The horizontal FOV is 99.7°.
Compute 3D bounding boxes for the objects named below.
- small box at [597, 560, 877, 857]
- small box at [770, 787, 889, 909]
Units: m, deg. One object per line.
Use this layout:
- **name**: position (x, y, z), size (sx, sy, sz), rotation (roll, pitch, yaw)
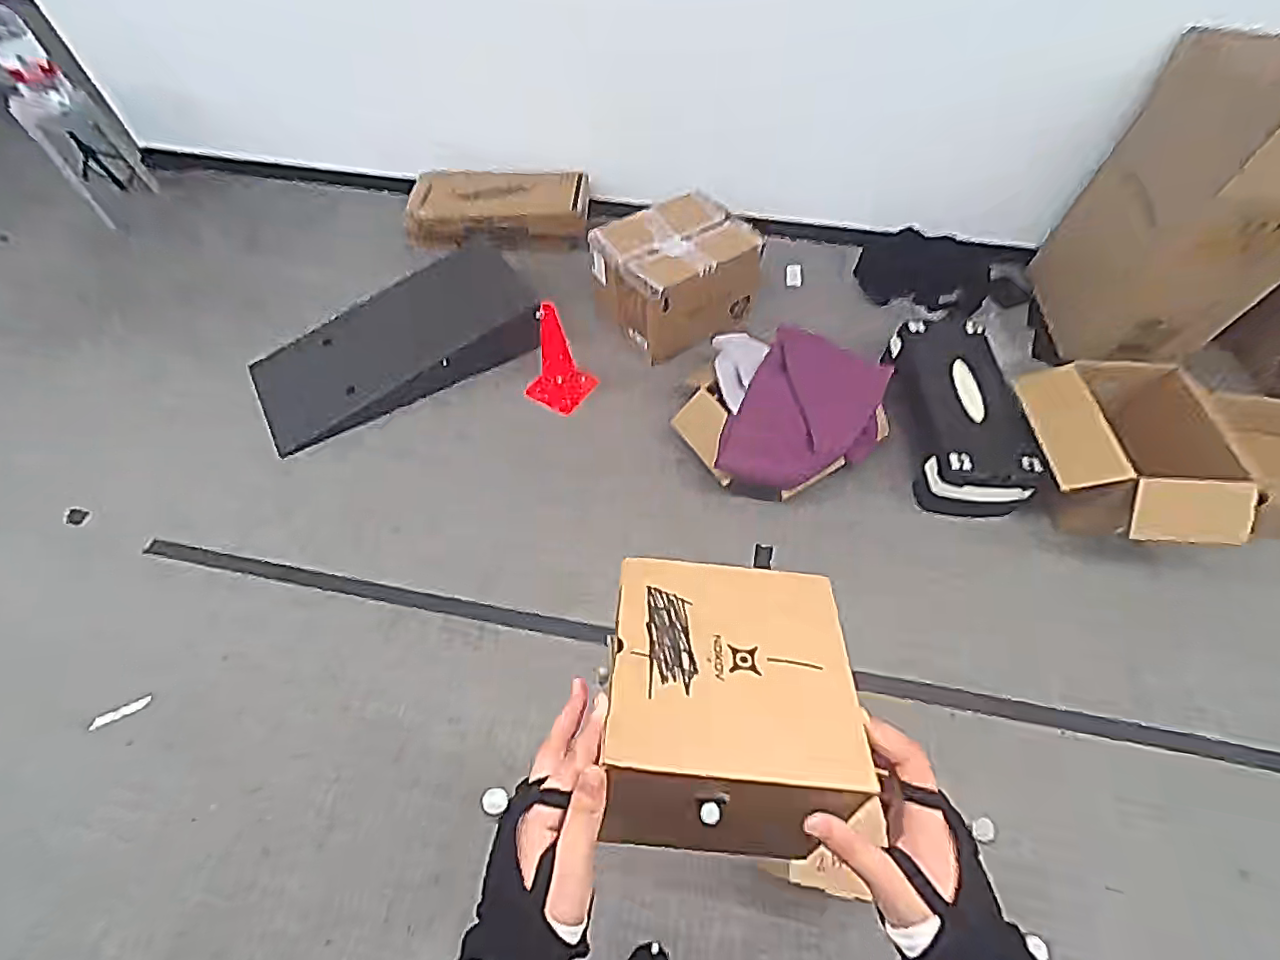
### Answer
- **small box**: position (0.061, 0.187, 0.442), size (0.179, 0.176, 0.168), rotation (6, 44, 1)
- **small box**: position (0.340, 0.650, 0.991), size (0.168, 0.176, 0.179), rotation (11, 57, 7)
